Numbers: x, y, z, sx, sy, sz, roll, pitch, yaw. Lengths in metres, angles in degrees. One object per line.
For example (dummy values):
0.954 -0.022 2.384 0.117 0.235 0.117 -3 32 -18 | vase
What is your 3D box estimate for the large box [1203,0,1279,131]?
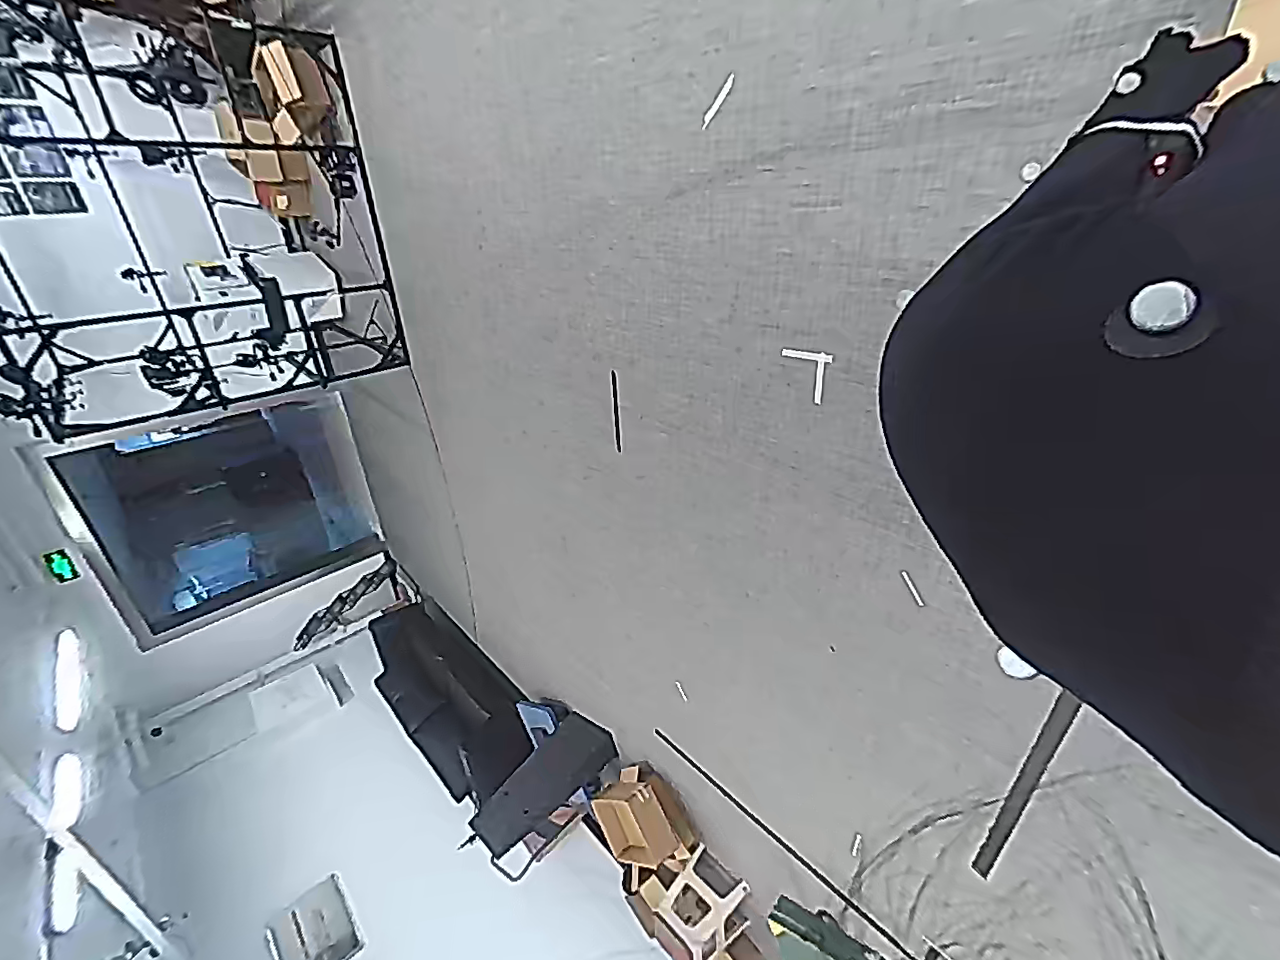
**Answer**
1.027 -0.649 0.661 0.408 0.320 0.320 22 125 42 | large box
